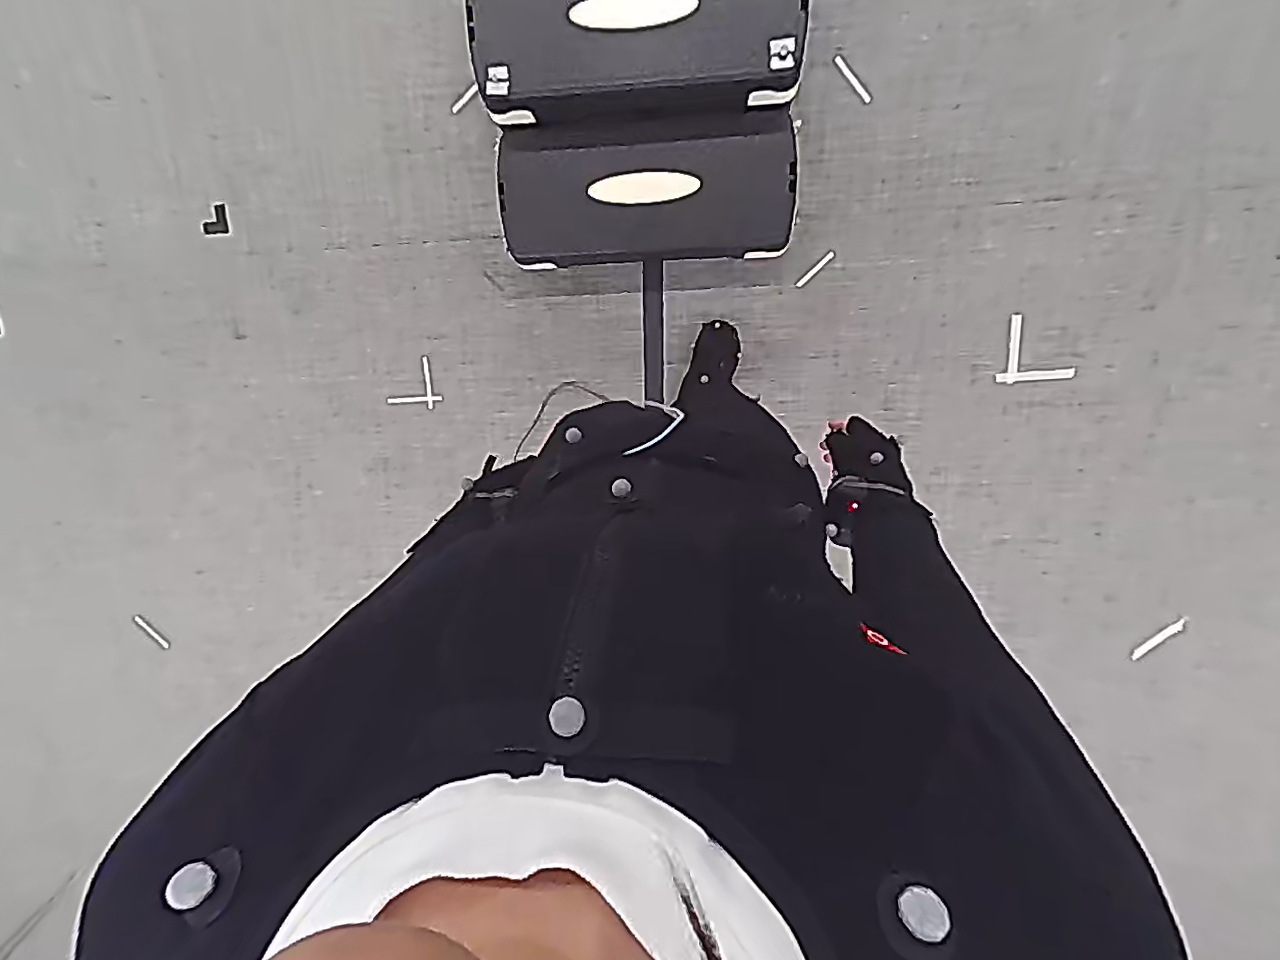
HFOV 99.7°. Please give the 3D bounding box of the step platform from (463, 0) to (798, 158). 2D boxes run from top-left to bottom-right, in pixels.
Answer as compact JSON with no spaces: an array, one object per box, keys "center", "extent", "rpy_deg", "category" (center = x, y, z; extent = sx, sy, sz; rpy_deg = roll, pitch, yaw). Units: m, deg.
[{"center":[-0.020,-0.895,1.142],"extent":[0.684,0.204,0.286],"rpy_deg":[-2,104,5],"category":"step platform"}]
